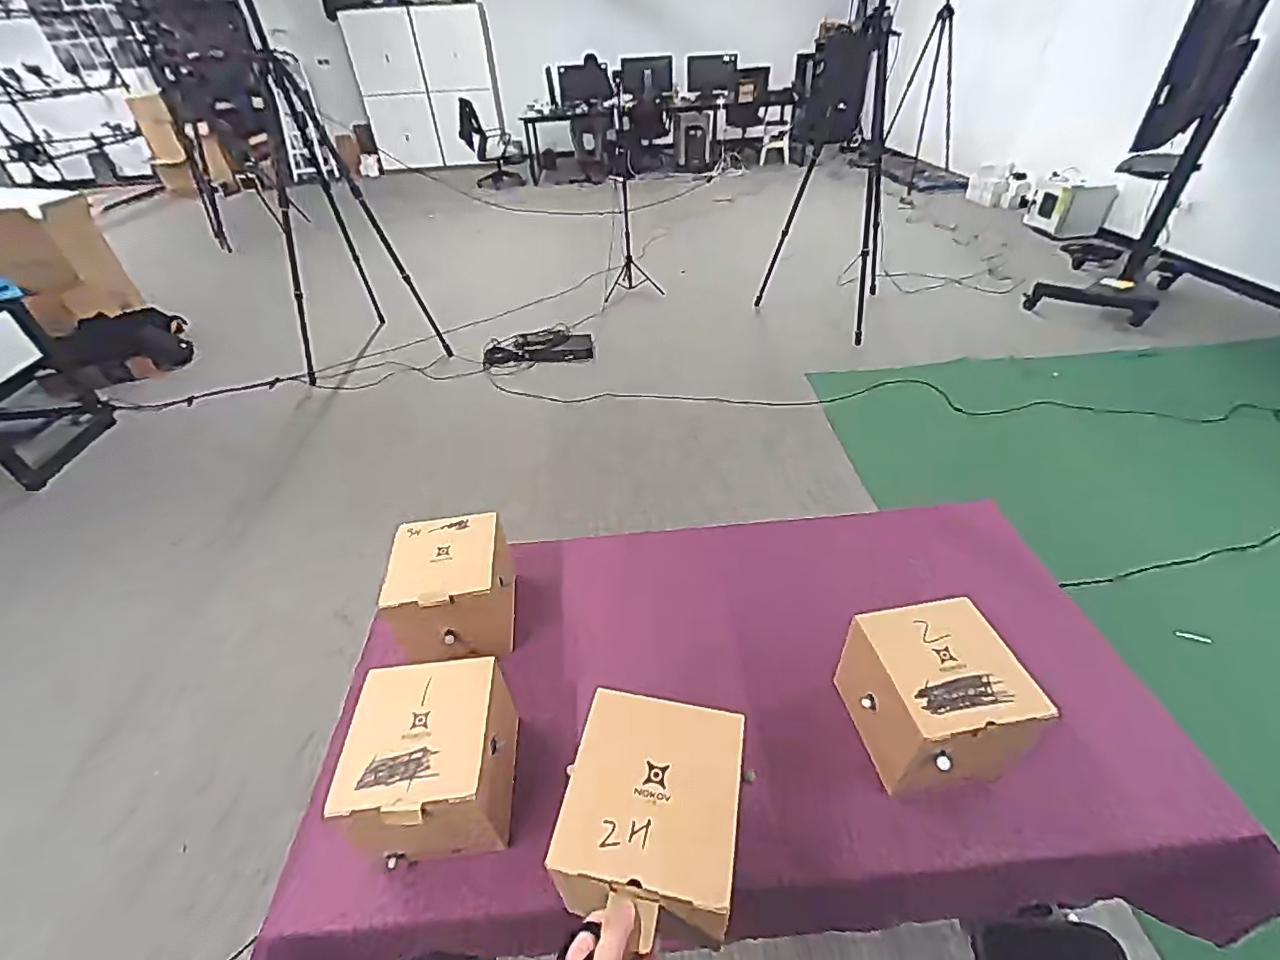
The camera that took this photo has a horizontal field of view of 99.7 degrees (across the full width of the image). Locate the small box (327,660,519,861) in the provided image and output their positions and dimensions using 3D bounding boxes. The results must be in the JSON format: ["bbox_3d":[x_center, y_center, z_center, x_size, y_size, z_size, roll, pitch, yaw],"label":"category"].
[{"bbox_3d":[-0.257,0.362,0.694,0.168,0.176,0.179,-6,38,-2],"label":"small box"}]

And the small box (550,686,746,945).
[{"bbox_3d":[0.018,0.358,0.584,0.168,0.176,0.179,6,42,12],"label":"small box"}]

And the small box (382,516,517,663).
[{"bbox_3d":[-0.305,0.188,0.908,0.168,0.176,0.179,-8,41,-5],"label":"small box"}]
